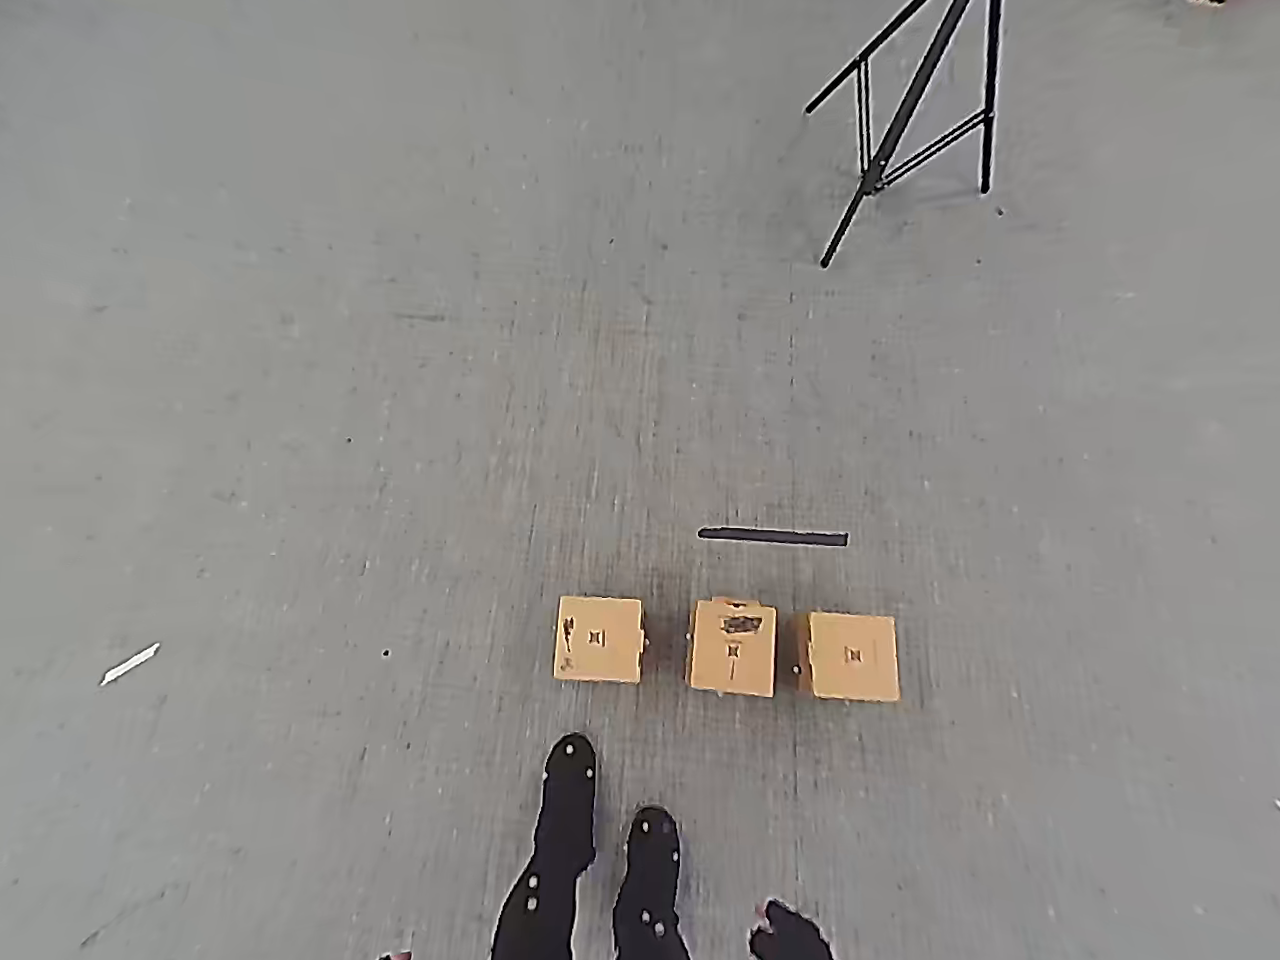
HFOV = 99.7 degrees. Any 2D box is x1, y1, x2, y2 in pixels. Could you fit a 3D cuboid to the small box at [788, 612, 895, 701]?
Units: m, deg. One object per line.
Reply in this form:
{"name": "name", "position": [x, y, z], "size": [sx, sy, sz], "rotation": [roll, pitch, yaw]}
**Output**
{"name": "small box", "position": [0.425, 0.380, 1.172], "size": [0.179, 0.176, 0.168], "rotation": [3, 74, 0]}

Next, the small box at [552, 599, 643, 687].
{"name": "small box", "position": [-0.086, 0.354, 1.184], "size": [0.179, 0.176, 0.168], "rotation": [3, 72, 2]}

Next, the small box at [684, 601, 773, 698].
{"name": "small box", "position": [0.187, 0.367, 1.176], "size": [0.168, 0.176, 0.179], "rotation": [6, 73, 3]}
